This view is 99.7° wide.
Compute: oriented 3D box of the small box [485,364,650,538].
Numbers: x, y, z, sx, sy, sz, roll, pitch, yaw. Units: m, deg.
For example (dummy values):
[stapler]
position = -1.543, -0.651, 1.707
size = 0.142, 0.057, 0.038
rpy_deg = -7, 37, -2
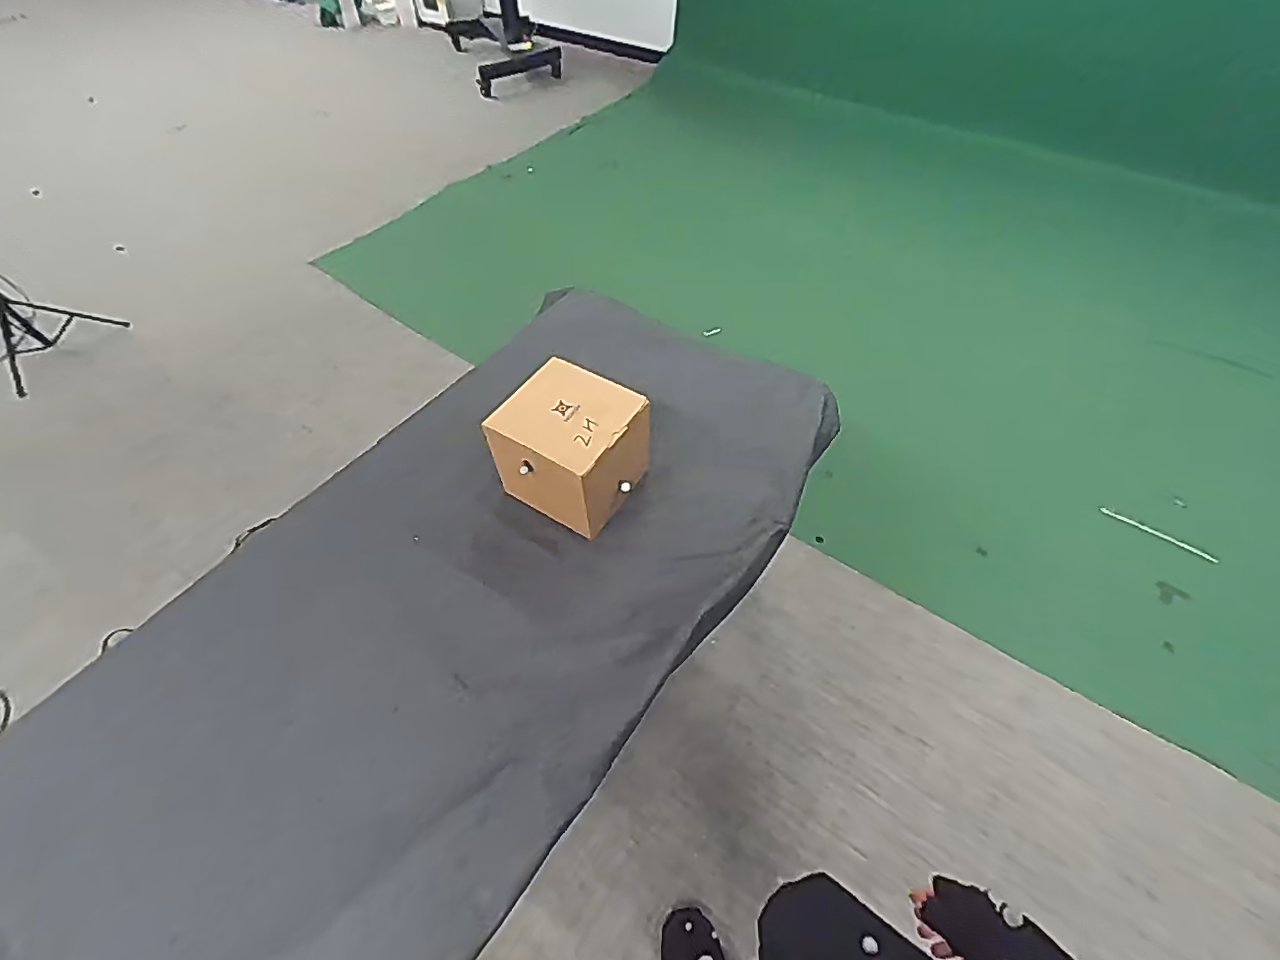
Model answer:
[small box]
position = -0.102, -0.040, 0.825
size = 0.179, 0.176, 0.168
rpy_deg = 27, 58, 19
